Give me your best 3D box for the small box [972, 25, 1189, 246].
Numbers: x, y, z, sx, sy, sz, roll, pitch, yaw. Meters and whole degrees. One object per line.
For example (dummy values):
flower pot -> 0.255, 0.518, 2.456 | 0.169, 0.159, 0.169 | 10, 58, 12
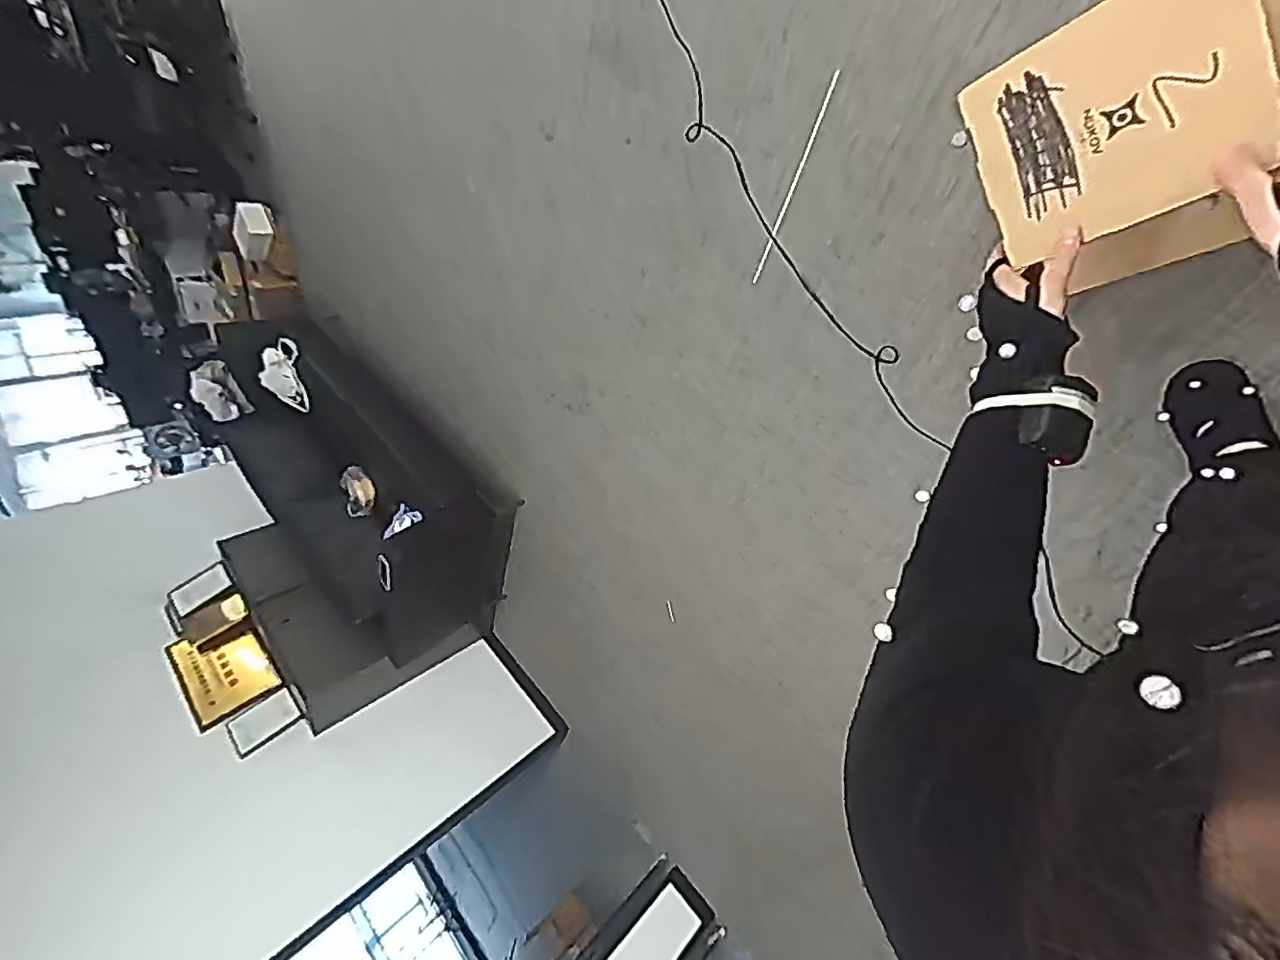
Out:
small box -> 0.574, -0.429, 0.706 | 0.179, 0.176, 0.168 | -18, 93, 49

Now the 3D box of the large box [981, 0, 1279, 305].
large box -> 0.804, -0.496, 0.809 | 0.408, 0.320, 0.320 | -12, 100, 47
